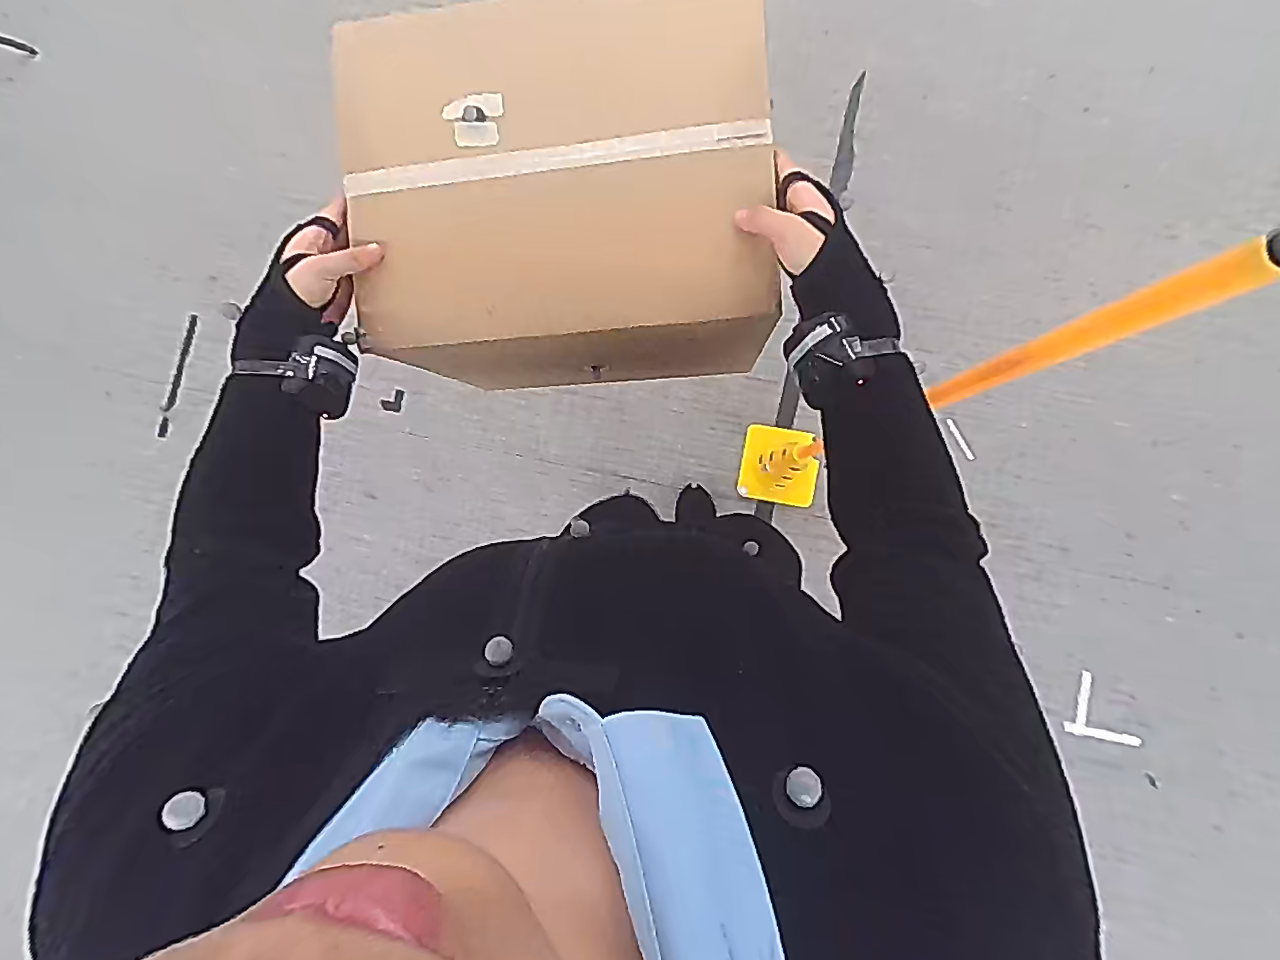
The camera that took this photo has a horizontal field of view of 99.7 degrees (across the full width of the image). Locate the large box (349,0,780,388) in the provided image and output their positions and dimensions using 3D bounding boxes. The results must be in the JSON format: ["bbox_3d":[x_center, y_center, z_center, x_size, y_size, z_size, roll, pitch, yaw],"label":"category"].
[{"bbox_3d":[-0.061,-0.301,0.662,0.408,0.320,0.320,-4,91,7],"label":"large box"}]
